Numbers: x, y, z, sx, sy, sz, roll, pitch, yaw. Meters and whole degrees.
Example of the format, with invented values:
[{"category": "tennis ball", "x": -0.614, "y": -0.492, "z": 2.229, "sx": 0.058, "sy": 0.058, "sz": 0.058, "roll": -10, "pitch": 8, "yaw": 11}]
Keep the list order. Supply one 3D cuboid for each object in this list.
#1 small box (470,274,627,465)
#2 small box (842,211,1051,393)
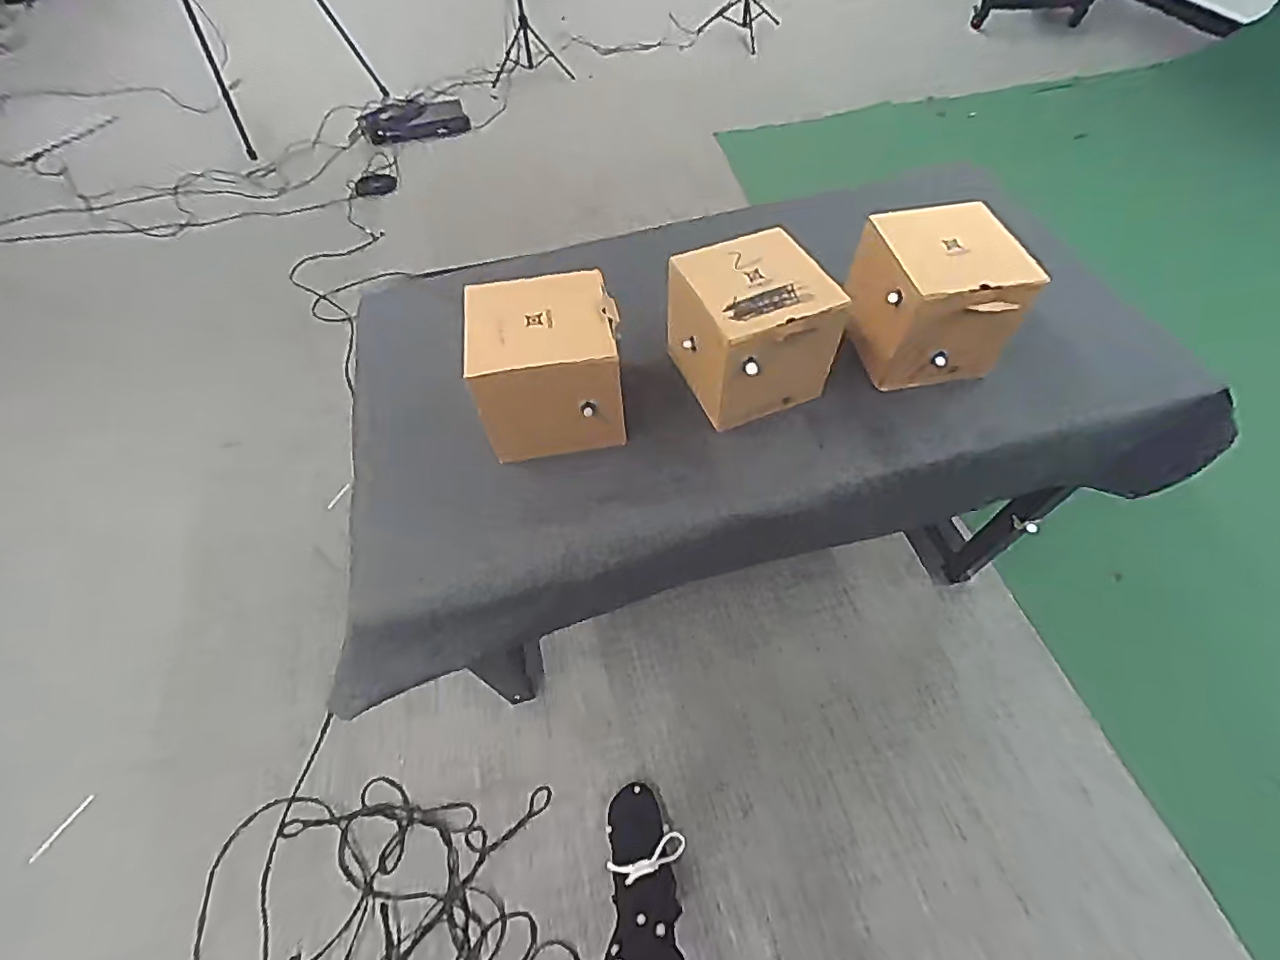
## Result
[{"category": "small box", "x": -0.113, "y": -0.140, "z": 0.713, "sx": 0.179, "sy": 0.176, "sz": 0.168, "roll": -10, "pitch": 55, "yaw": -3}, {"category": "small box", "x": 0.411, "y": -0.249, "z": 0.766, "sx": 0.168, "sy": 0.176, "sz": 0.179, "roll": -8, "pitch": 57, "yaw": -4}]
